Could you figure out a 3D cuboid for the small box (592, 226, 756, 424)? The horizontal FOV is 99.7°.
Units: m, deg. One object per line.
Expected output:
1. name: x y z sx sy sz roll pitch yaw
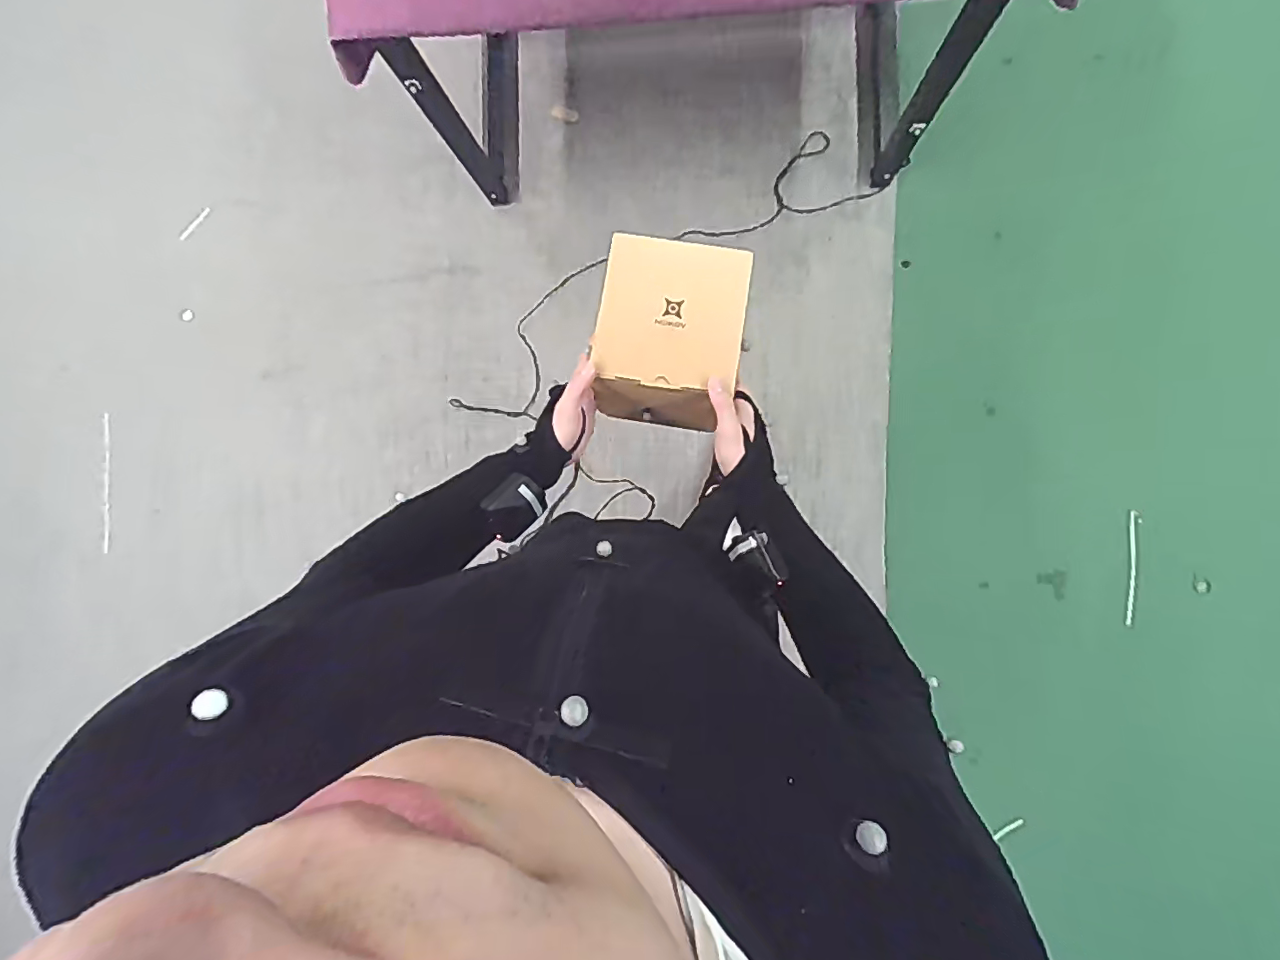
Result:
1. small box: 0.040 -0.184 0.684 0.168 0.176 0.179 9 83 2
